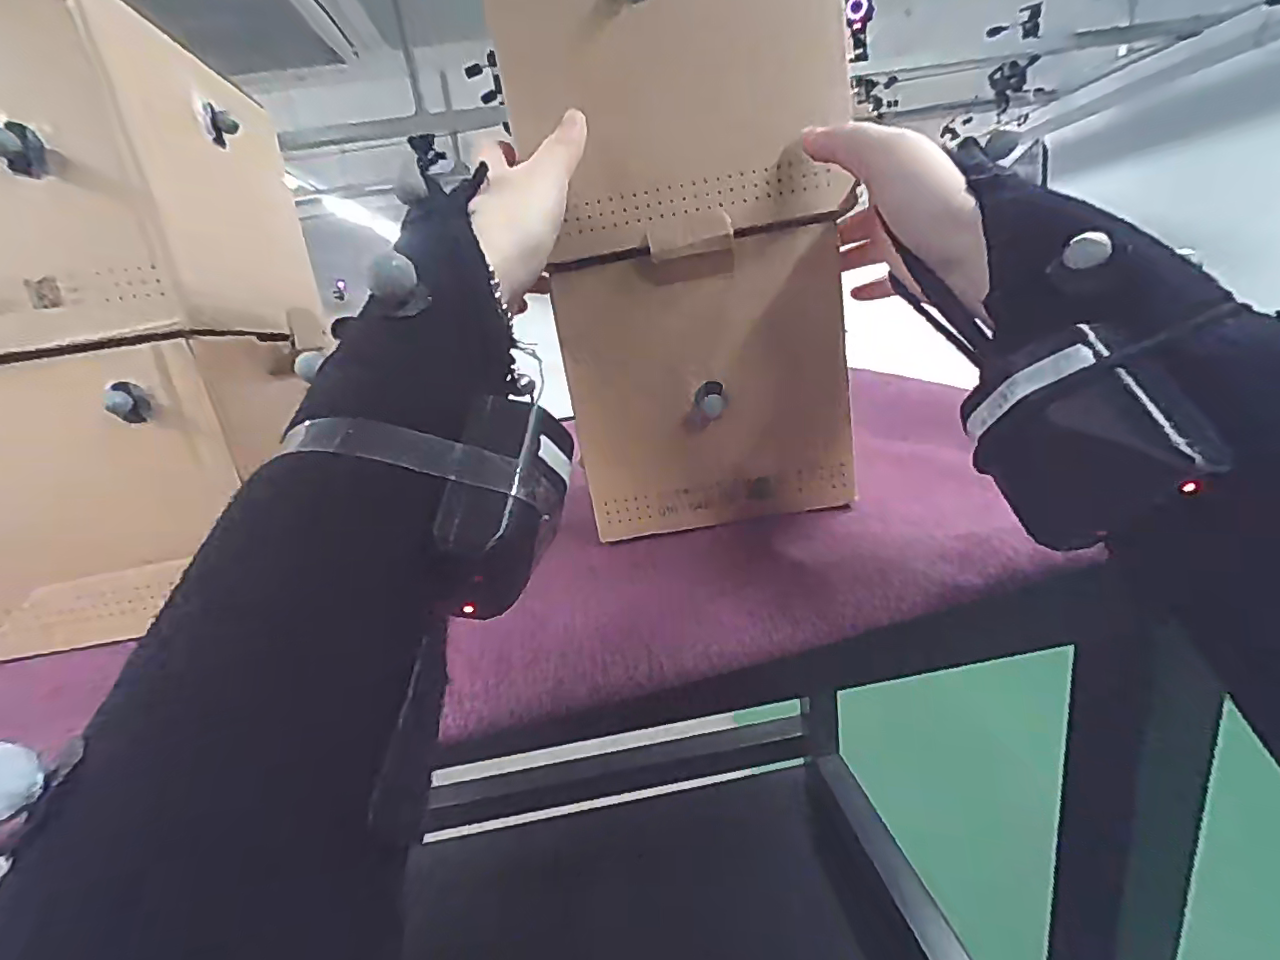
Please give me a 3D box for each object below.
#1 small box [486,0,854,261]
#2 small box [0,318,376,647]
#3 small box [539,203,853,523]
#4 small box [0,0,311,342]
[{"bbox_3d":[0.016,-0.230,0.338,0.179,0.176,0.168,-9,14,3],"label":"small box"},{"bbox_3d":[-0.314,-0.007,0.367,0.179,0.176,0.168,-10,15,-3],"label":"small box"},{"bbox_3d":[0.041,-0.075,0.389,0.168,0.176,0.179,-9,15,4],"label":"small box"},{"bbox_3d":[-0.332,-0.163,0.323,0.168,0.176,0.179,-9,14,-6],"label":"small box"}]
